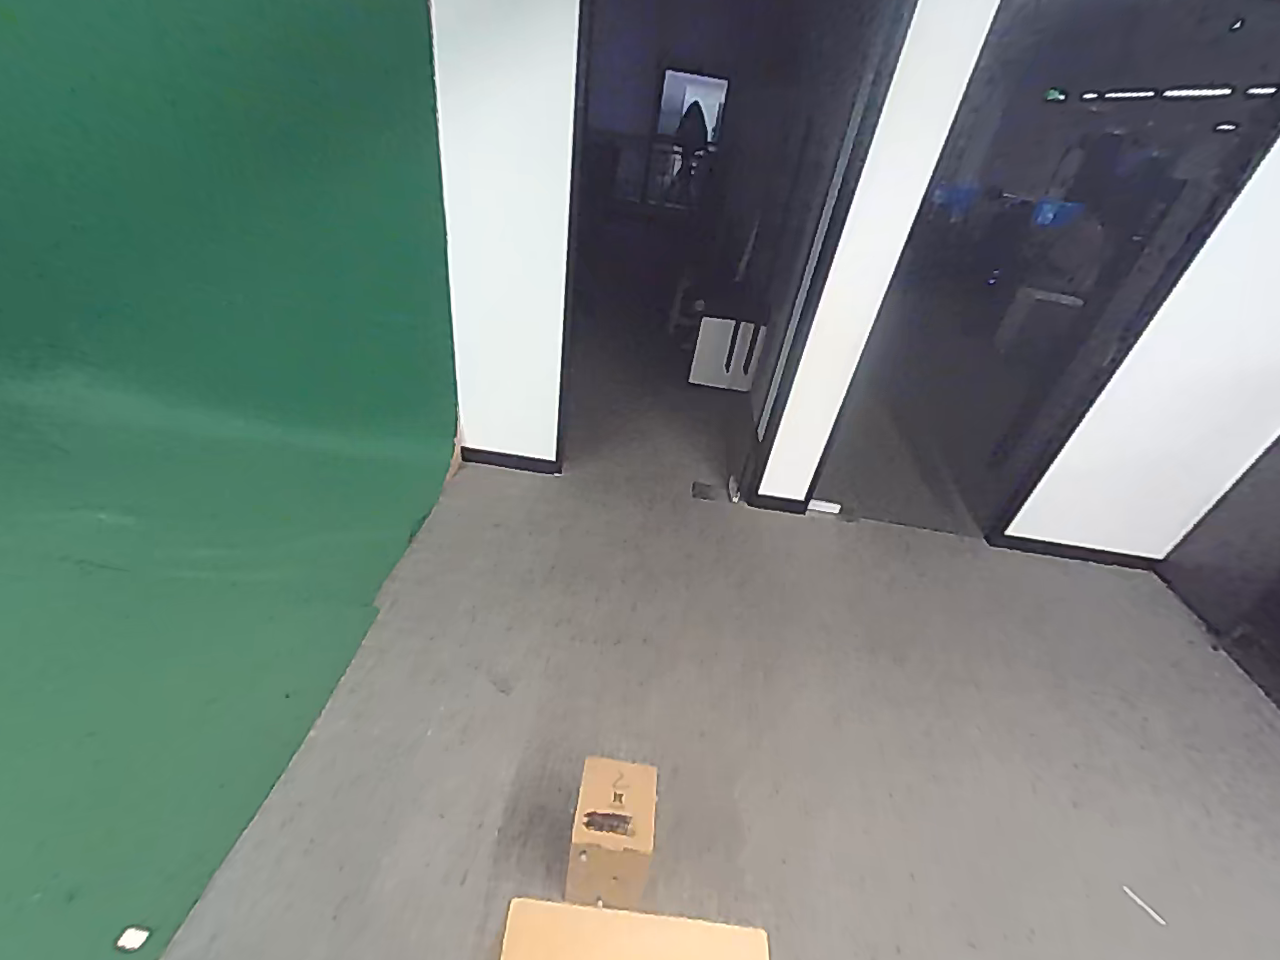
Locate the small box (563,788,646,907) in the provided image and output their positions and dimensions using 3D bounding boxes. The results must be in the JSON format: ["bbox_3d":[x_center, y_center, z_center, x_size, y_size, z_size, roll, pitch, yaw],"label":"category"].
[{"bbox_3d":[-0.085,0.873,1.286,0.168,0.176,0.179,9,36,1],"label":"small box"}]

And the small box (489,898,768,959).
[{"bbox_3d":[-0.023,0.385,0.326,0.168,0.176,0.179,13,42,-8],"label":"small box"}]
